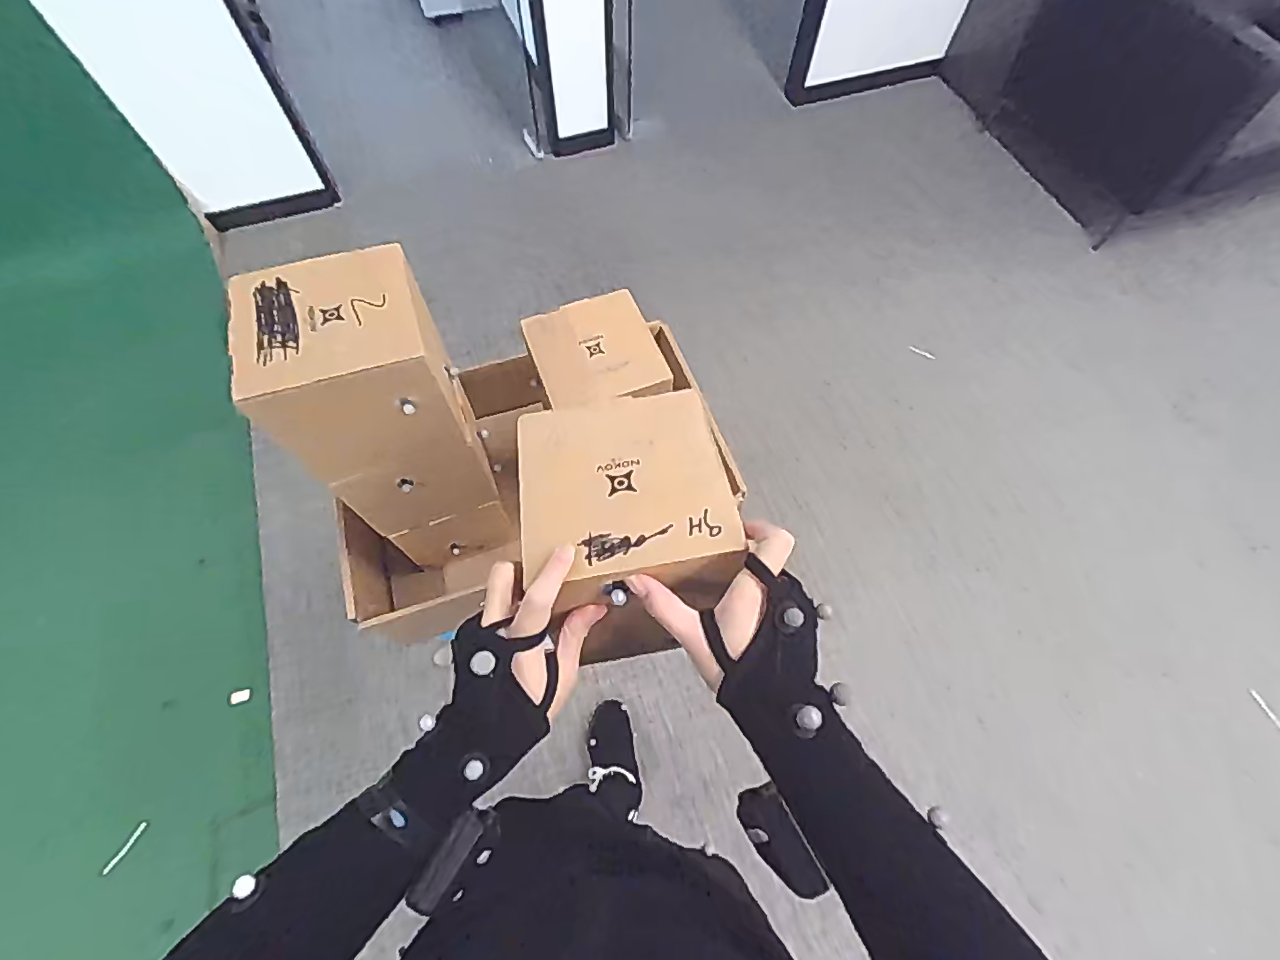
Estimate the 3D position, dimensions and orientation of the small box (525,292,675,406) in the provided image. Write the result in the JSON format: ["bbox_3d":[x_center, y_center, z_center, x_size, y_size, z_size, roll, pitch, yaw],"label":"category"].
[{"bbox_3d":[-0.057,-0.140,0.805,0.168,0.176,0.179,-19,65,-8],"label":"small box"}]

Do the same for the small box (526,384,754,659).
[{"bbox_3d":[-0.005,0.041,0.497,0.168,0.176,0.179,-10,52,-2],"label":"small box"}]

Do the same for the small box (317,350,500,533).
[{"bbox_3d":[-0.313,-0.046,0.755,0.179,0.176,0.168,-18,65,-11],"label":"small box"}]
